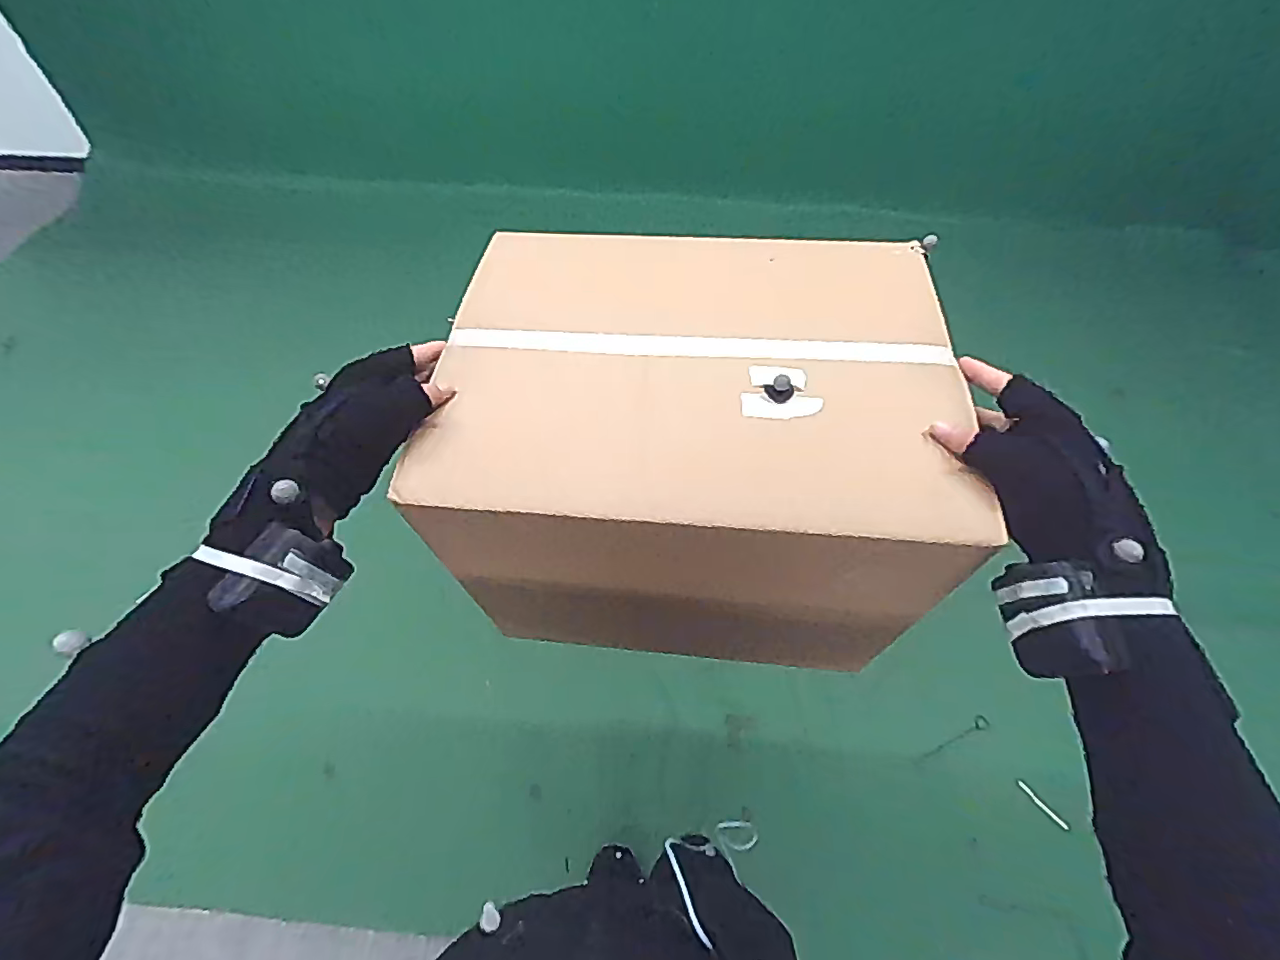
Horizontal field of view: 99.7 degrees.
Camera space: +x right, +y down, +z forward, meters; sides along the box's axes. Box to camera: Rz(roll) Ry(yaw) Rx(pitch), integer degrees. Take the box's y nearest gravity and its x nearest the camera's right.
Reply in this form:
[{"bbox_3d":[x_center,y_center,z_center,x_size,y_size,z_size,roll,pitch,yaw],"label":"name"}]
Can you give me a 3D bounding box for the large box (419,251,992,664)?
[{"bbox_3d":[0.053,-0.013,0.575,0.408,0.320,0.320,4,57,4],"label":"large box"}]
